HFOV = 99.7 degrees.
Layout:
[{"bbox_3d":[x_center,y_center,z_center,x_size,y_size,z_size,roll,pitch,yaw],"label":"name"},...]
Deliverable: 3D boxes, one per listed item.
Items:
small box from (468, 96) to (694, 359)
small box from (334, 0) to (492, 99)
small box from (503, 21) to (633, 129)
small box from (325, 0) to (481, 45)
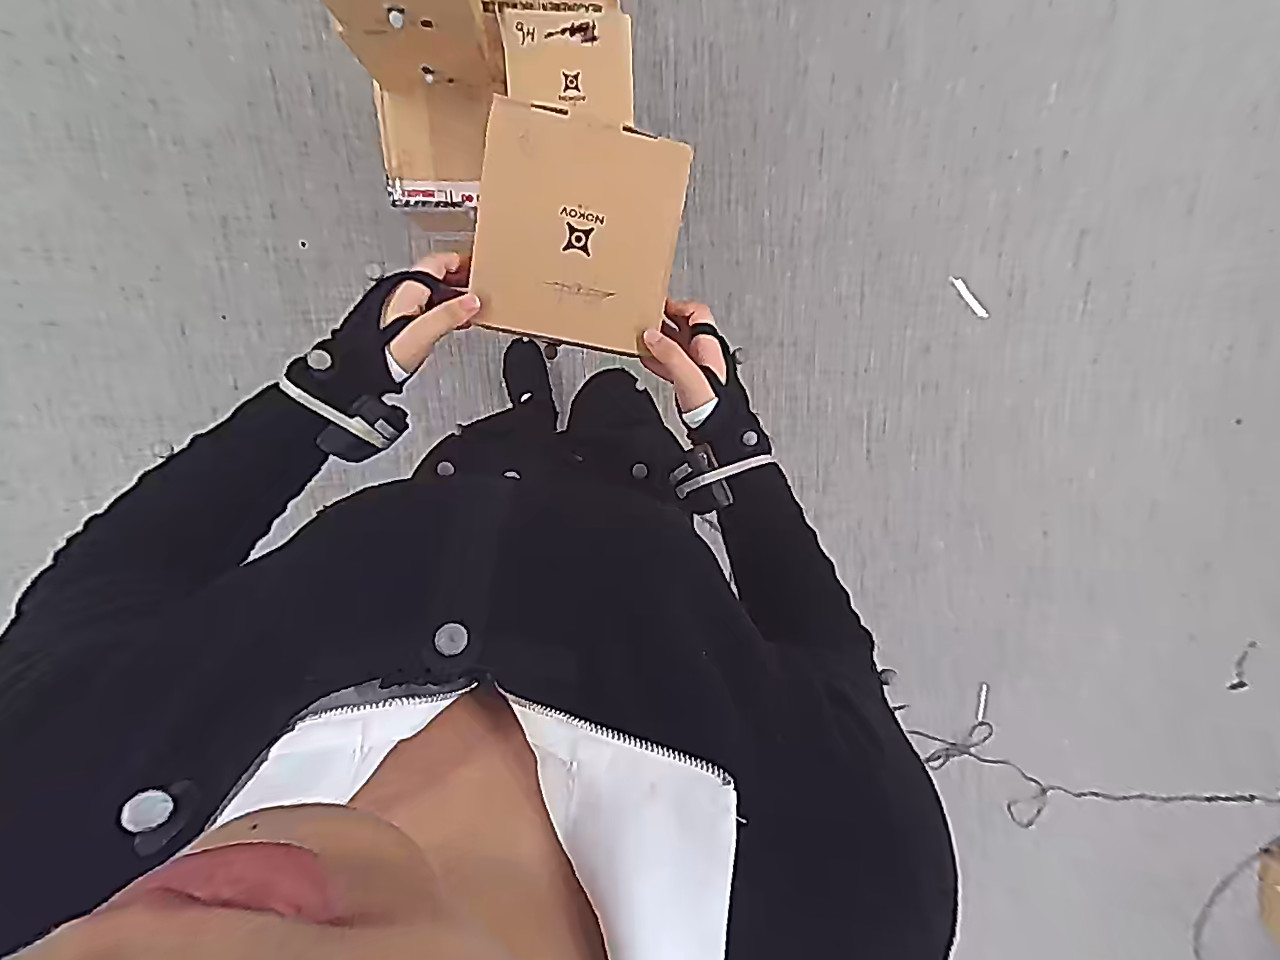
[{"bbox_3d":[-0.059,-0.220,0.523,0.168,0.176,0.179,8,102,-9],"label":"small box"},{"bbox_3d":[-0.305,-0.651,0.728,0.168,0.176,0.179,-7,106,-4],"label":"small box"},{"bbox_3d":[-0.101,-0.519,0.787,0.168,0.176,0.179,-4,106,-8],"label":"small box"},{"bbox_3d":[-0.273,-0.607,0.573,0.168,0.176,0.179,-3,106,-4],"label":"small box"}]
